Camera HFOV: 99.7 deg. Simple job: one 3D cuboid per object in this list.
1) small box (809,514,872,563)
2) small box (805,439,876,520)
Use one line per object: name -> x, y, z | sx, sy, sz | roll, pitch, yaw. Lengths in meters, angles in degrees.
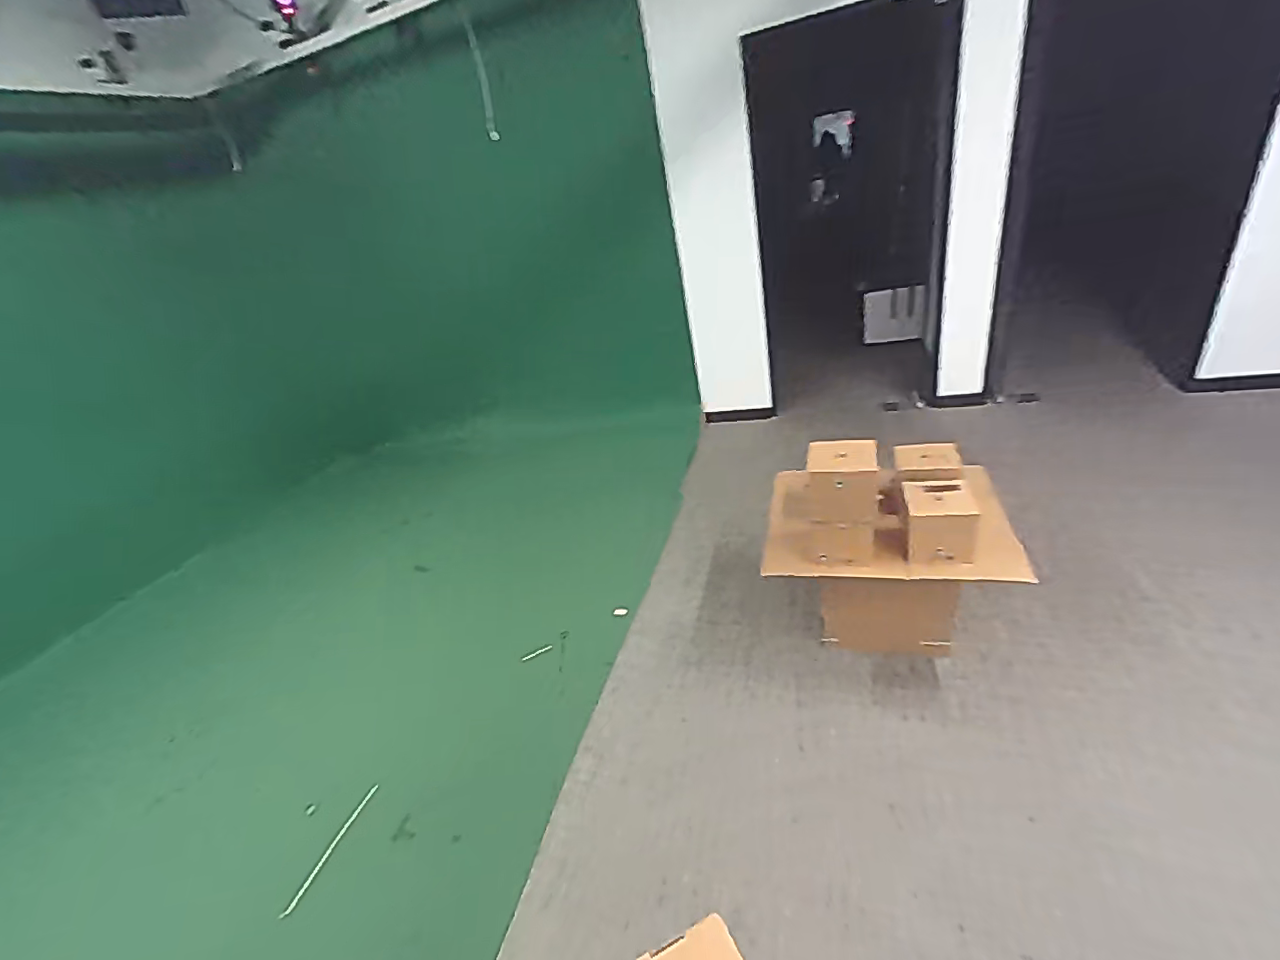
small box -> 0.595, 0.130, 1.600 | 0.168, 0.176, 0.179 | -2, 30, 21
small box -> 0.560, 0.000, 1.507 | 0.179, 0.176, 0.168 | -1, 33, 22
